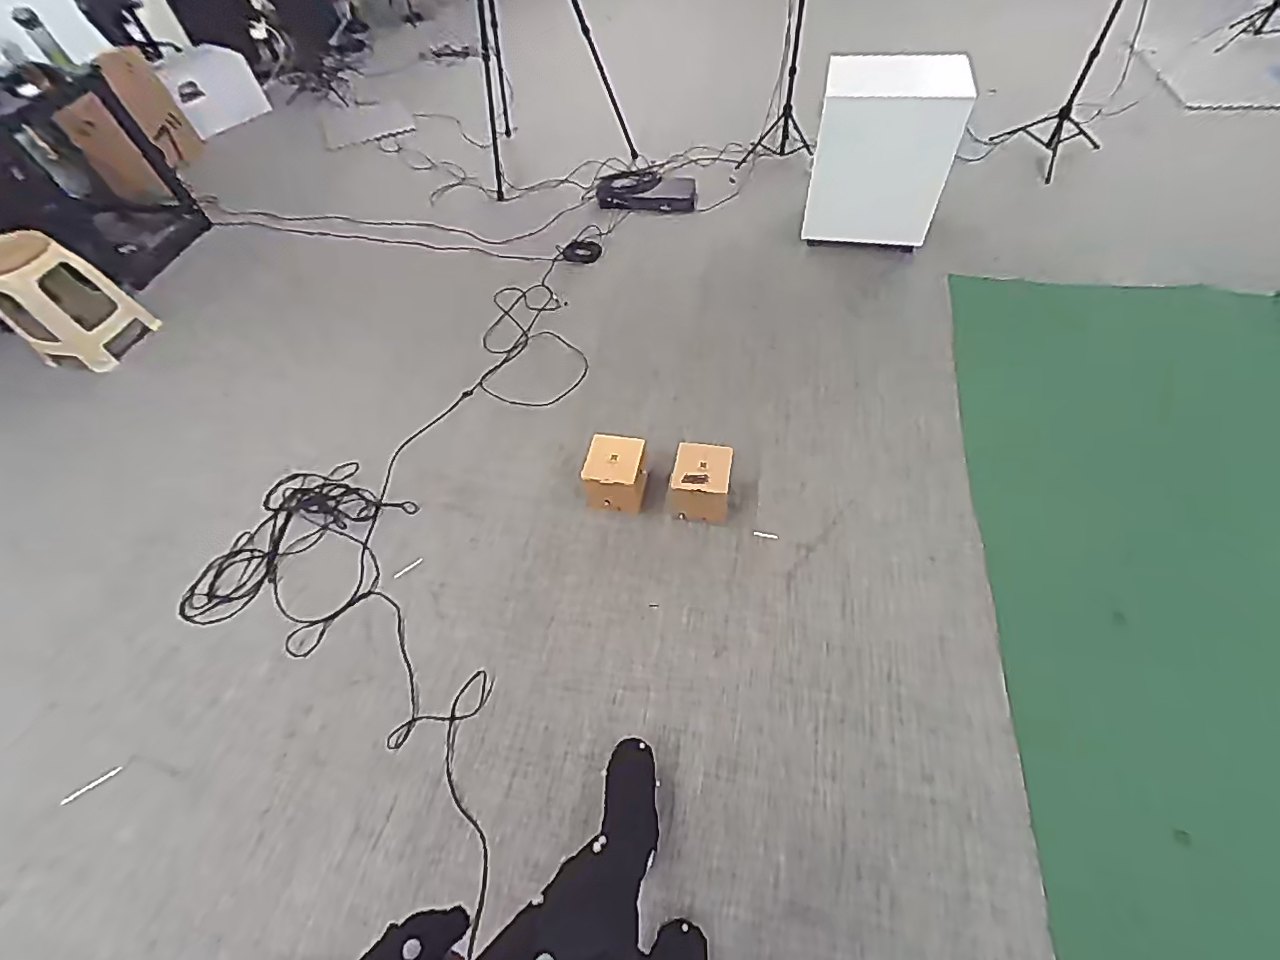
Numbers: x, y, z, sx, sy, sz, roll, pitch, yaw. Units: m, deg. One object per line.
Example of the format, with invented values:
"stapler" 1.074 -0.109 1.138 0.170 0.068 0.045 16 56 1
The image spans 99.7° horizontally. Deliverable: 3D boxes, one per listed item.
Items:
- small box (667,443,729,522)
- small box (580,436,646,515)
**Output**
"small box" 0.182 0.012 1.661 0.168 0.176 0.179 6 54 10
"small box" -0.079 -0.015 1.708 0.168 0.176 0.179 7 56 11
